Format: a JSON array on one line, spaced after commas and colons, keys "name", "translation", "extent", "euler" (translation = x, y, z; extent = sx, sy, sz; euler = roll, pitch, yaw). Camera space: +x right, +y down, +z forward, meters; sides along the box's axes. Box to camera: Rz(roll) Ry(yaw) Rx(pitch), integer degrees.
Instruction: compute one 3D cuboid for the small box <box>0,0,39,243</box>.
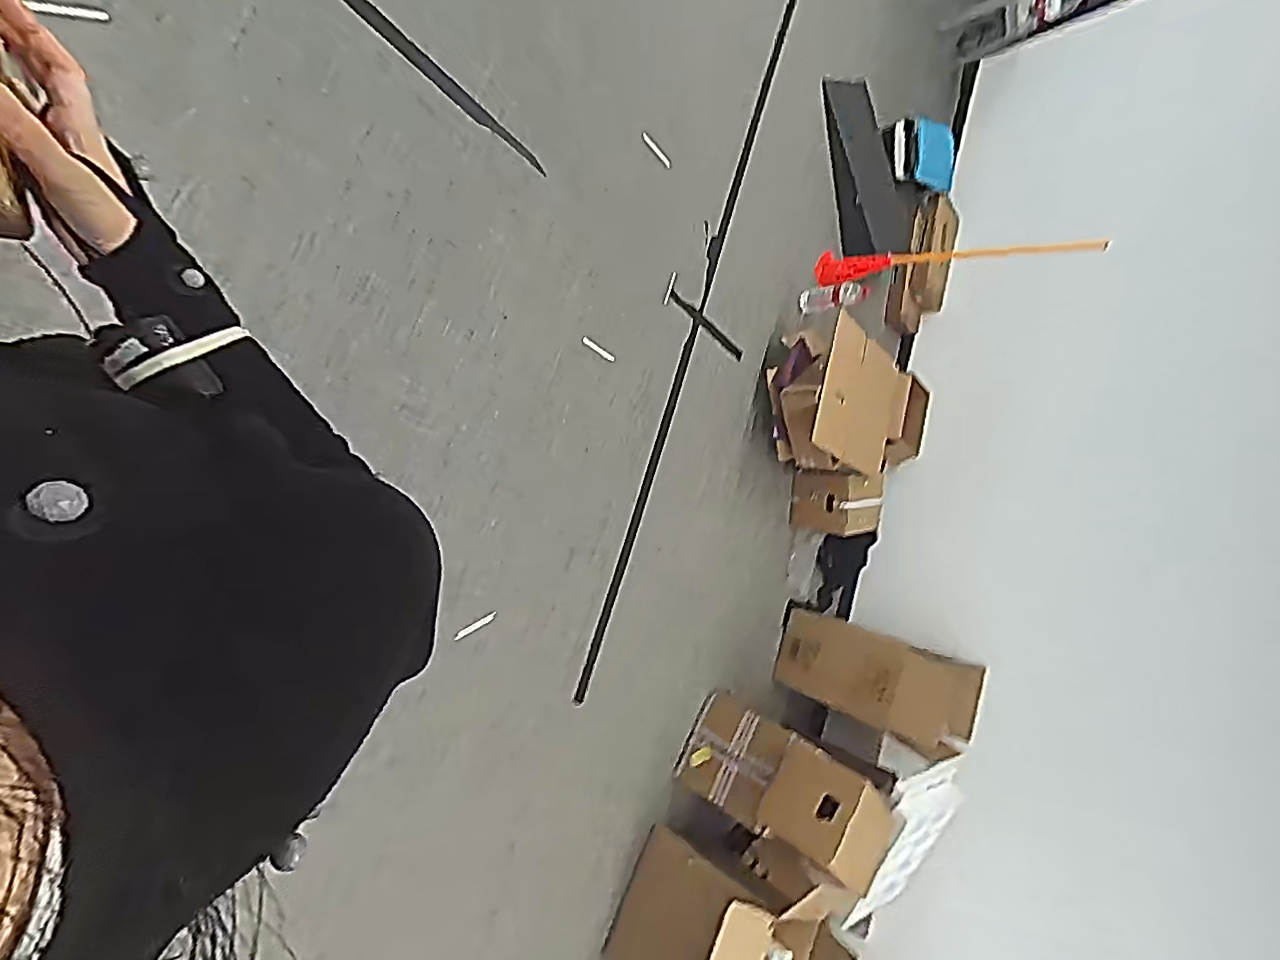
[{"name": "small box", "translation": [-0.416, -0.223, 0.248], "extent": [0.168, 0.176, 0.179], "euler": [-8, 103, -43]}]
